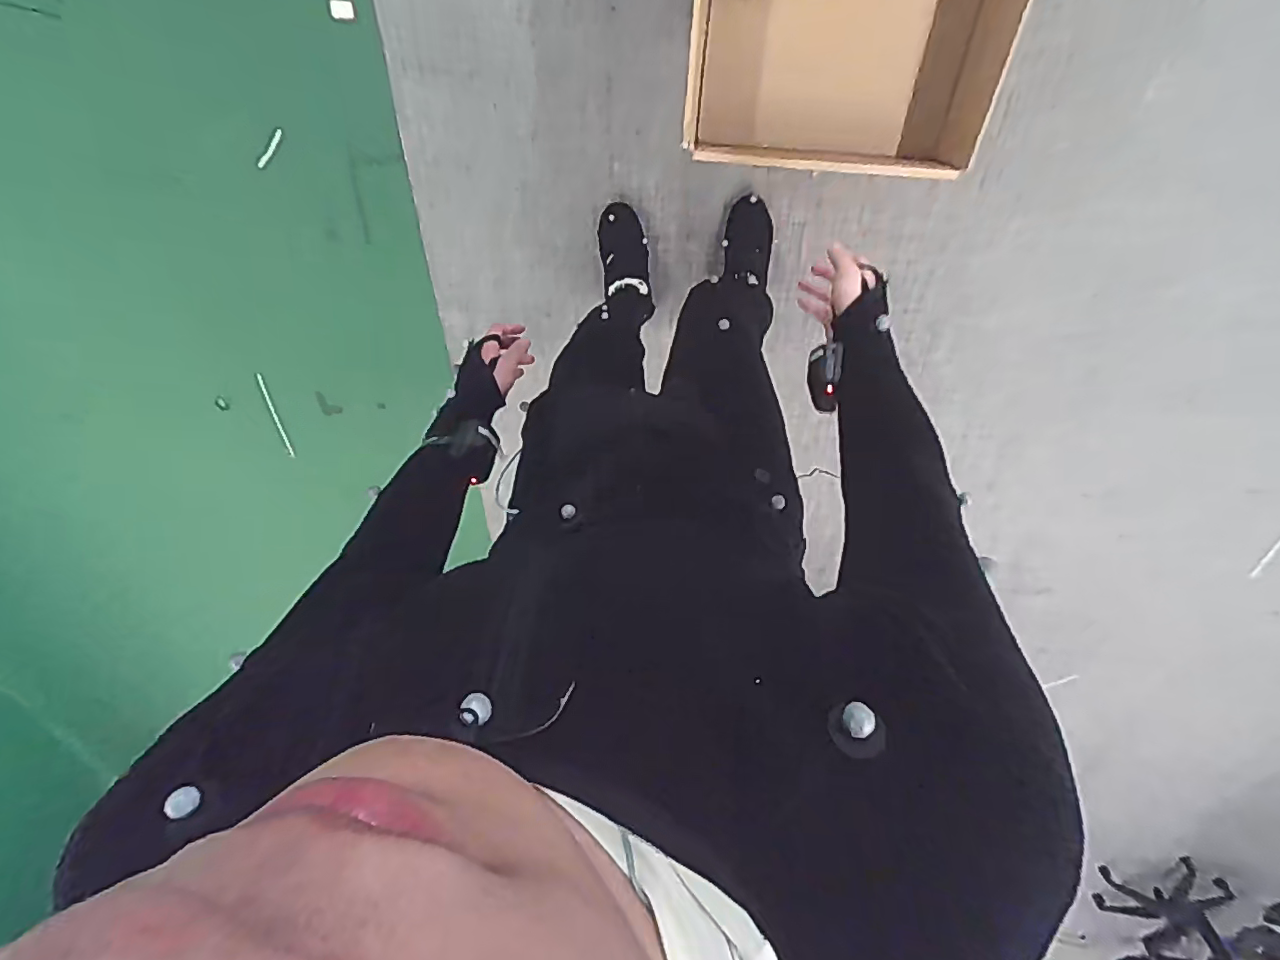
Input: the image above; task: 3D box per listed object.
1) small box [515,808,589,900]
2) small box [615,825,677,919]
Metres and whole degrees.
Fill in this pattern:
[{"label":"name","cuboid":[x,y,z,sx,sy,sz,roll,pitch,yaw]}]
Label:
[{"label":"small box","cuboid":[-0.259,1.098,1.594,0.179,0.176,0.168,10,126,-1]},{"label":"small box","cuboid":[0.021,1.153,1.592,0.168,0.176,0.179,2,126,6]}]
